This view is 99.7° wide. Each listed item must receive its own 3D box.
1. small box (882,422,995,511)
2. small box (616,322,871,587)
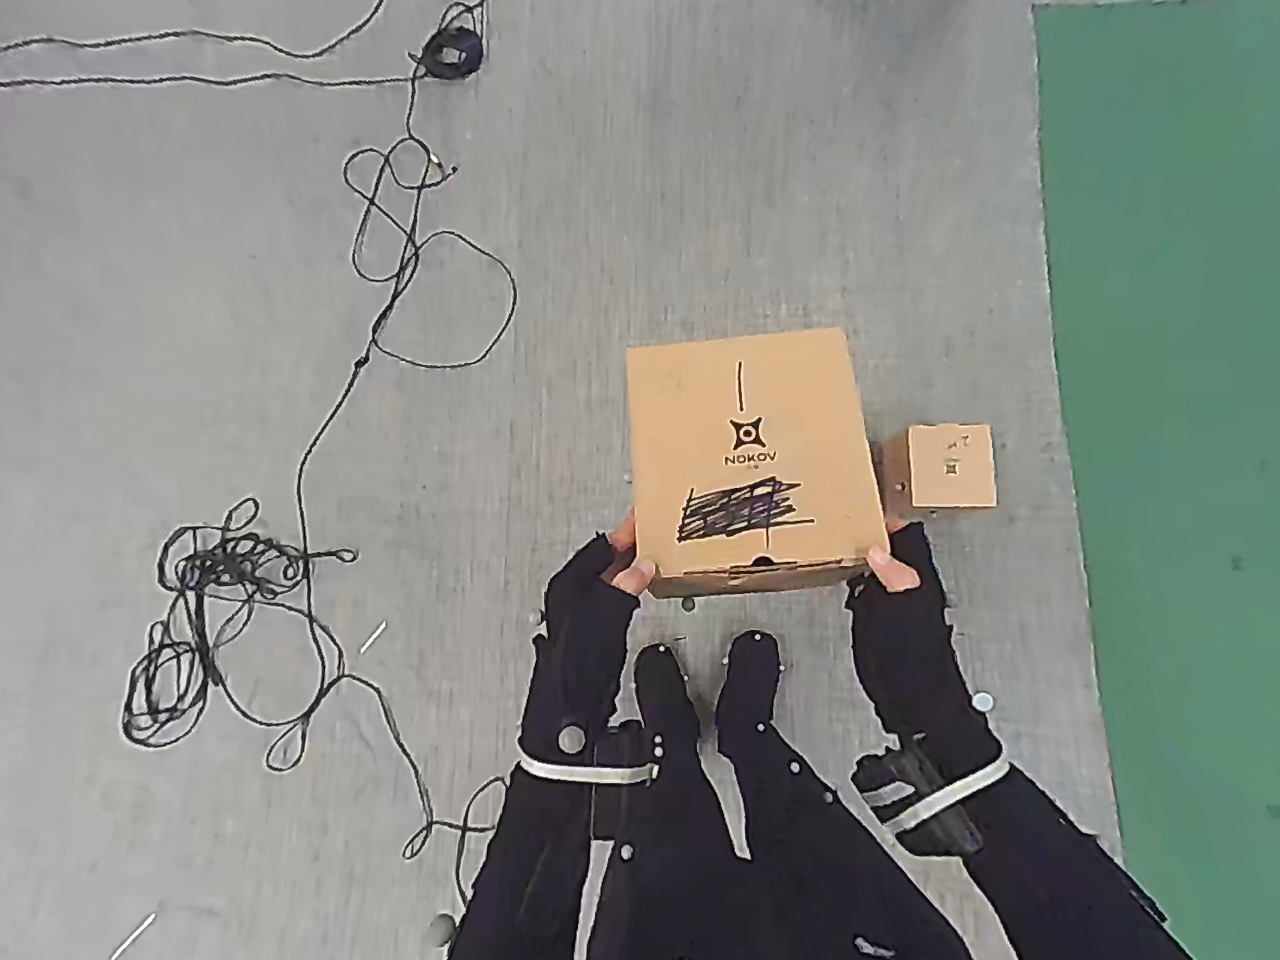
[{"bbox_3d":[0.647,-0.024,1.190,0.168,0.176,0.179,0,81,6],"label":"small box"},{"bbox_3d":[0.076,-0.005,0.460,0.168,0.176,0.179,-6,72,4],"label":"small box"}]
